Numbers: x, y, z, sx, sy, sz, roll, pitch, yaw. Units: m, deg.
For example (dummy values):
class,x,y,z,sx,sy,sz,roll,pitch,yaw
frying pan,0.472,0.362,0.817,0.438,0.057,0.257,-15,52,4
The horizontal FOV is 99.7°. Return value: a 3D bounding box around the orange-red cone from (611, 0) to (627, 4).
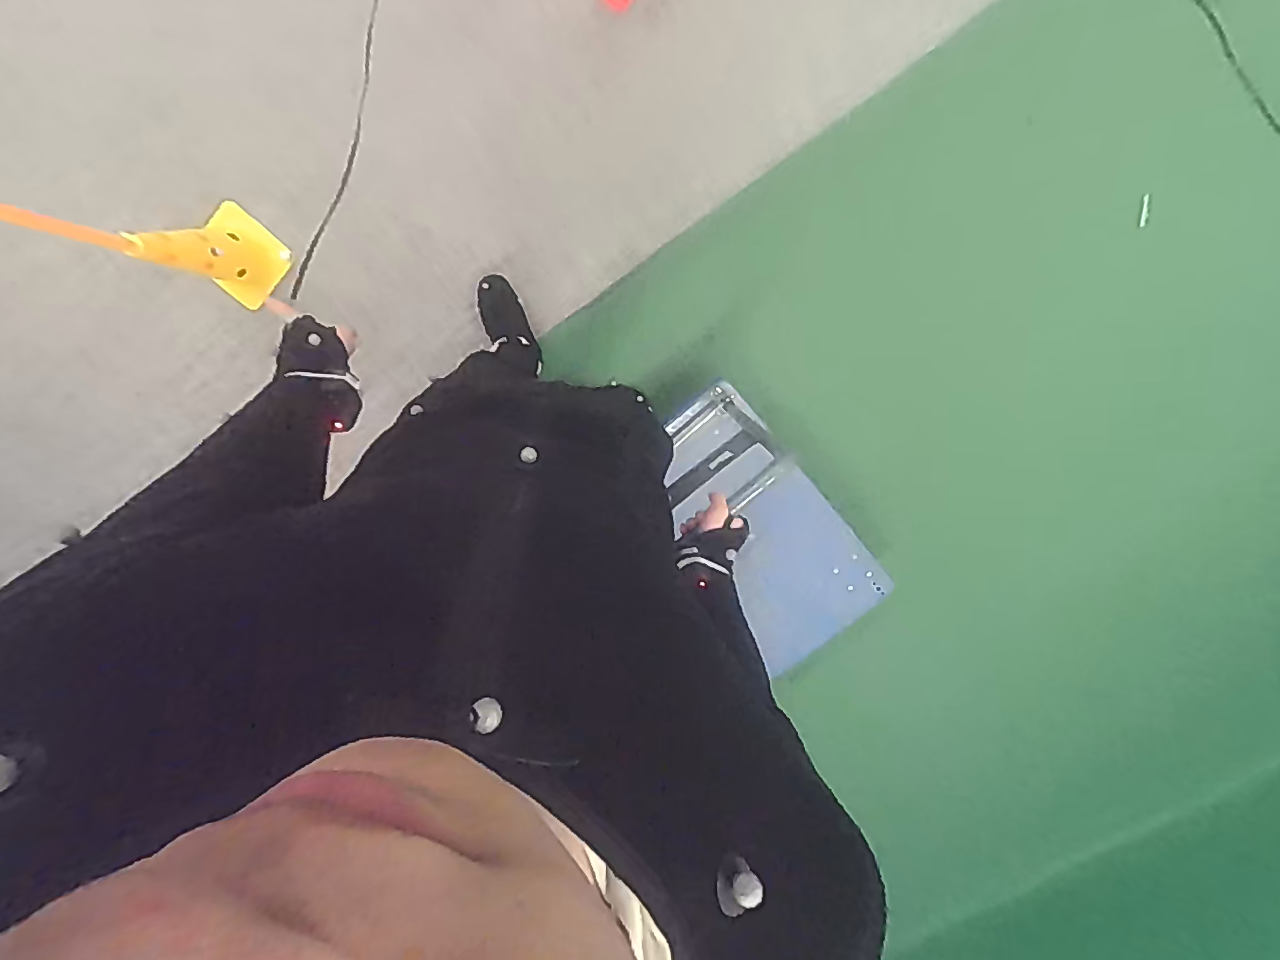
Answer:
class,x,y,z,sx,sy,sz,roll,pitch,yaw
orange-red cone,-0.041,-1.179,1.063,0.198,0.360,0.199,39,102,-16
